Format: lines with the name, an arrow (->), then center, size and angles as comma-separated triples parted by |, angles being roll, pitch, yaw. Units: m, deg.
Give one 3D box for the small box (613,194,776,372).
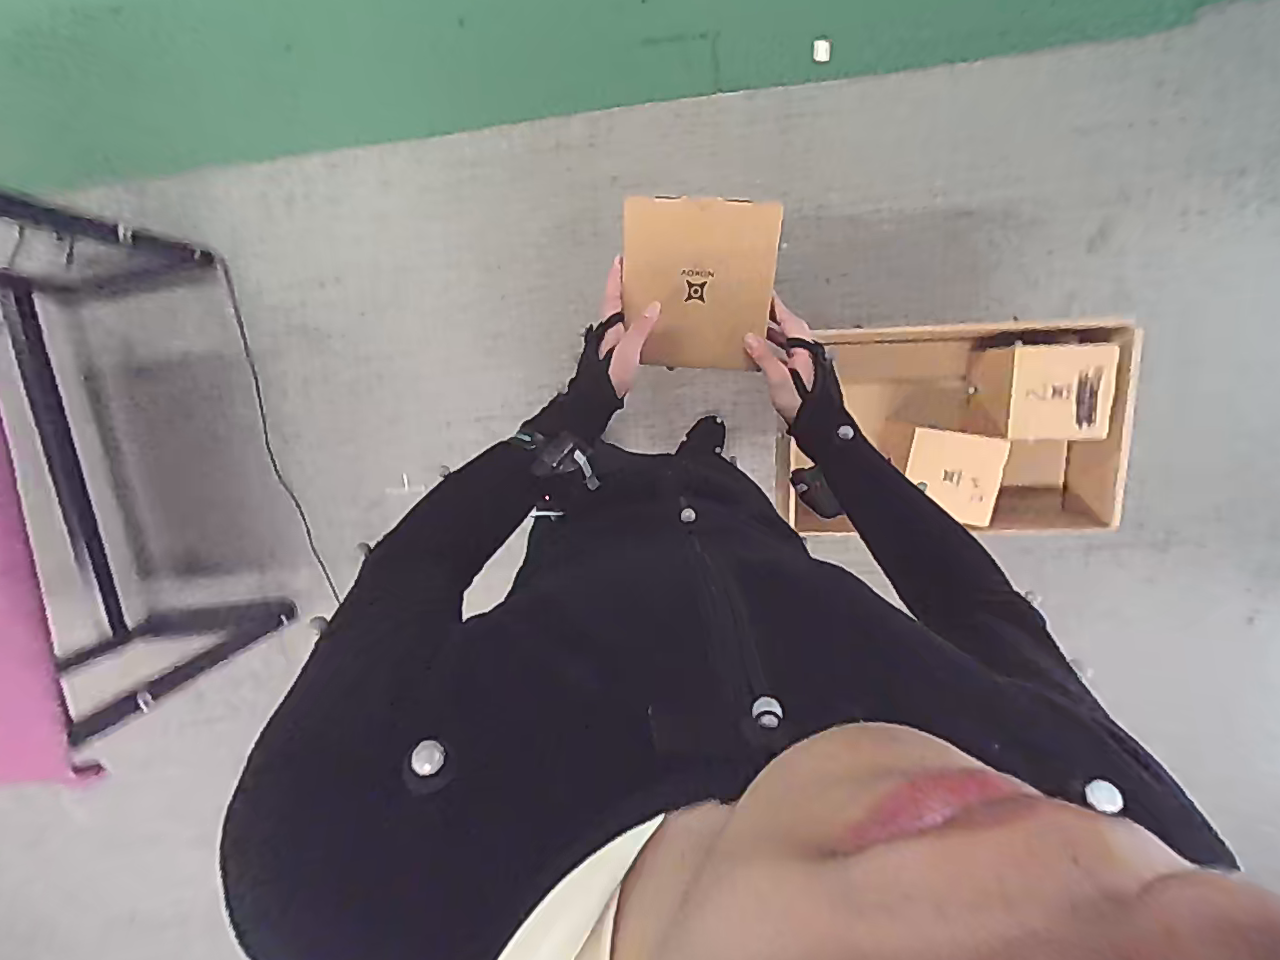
small box -> 0.061, -0.234, 0.653 | 0.168, 0.176, 0.179 | 3, 110, 3
